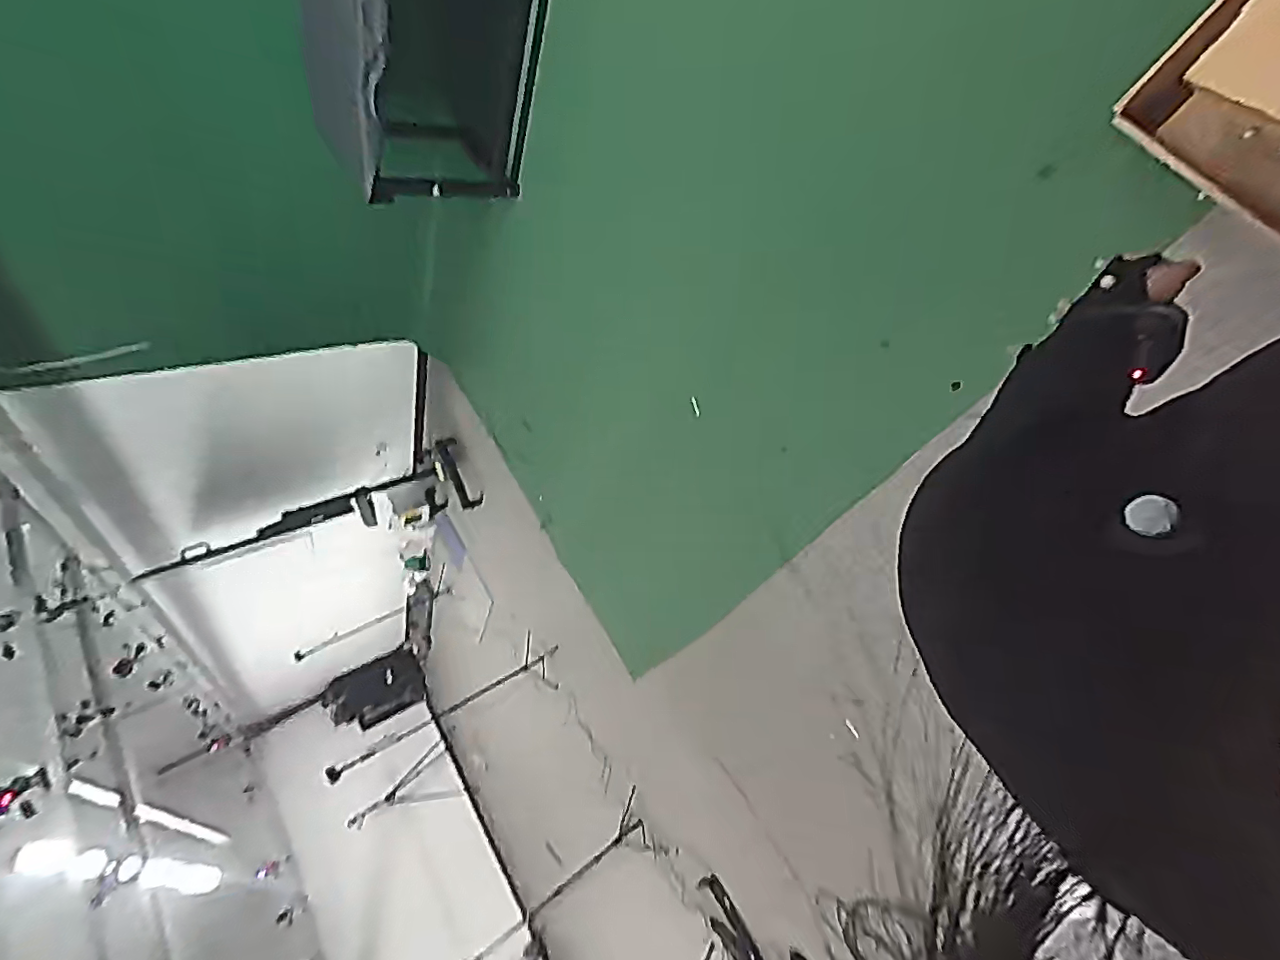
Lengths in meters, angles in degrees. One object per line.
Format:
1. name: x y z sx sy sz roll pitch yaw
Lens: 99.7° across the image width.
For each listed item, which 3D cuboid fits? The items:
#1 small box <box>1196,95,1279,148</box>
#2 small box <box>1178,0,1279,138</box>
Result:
1. small box: 0.864 -0.520 0.673 0.179 0.176 0.168 50 139 22
2. small box: 0.744 -0.472 0.572 0.179 0.176 0.168 51 138 22
